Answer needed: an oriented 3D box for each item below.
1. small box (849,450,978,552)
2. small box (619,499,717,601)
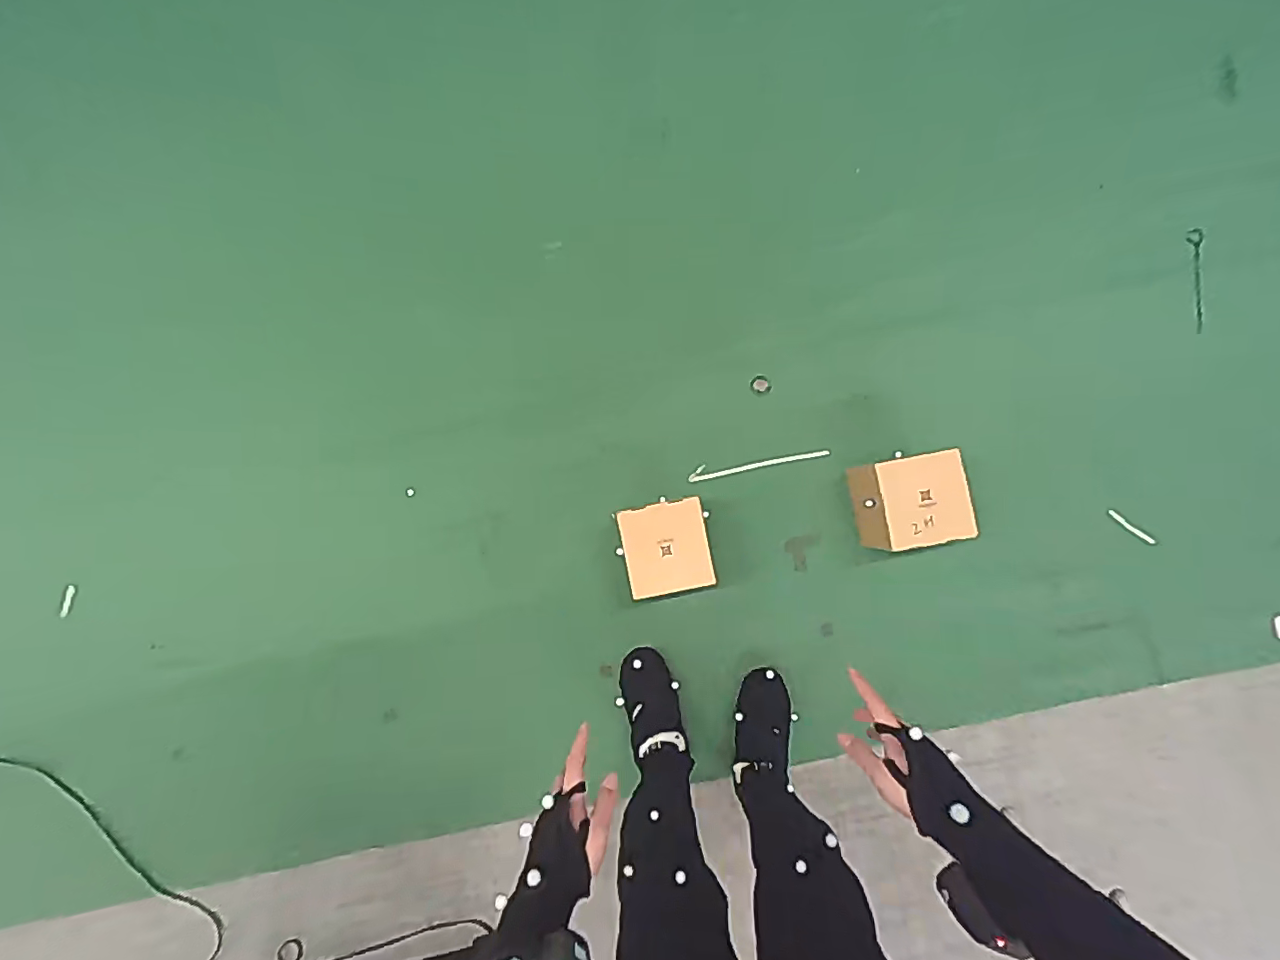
[{"bbox_3d":[0.552,0.046,1.116,0.168,0.176,0.179,-10,87,1],"label":"small box"},{"bbox_3d":[0.058,0.138,1.125,0.168,0.176,0.179,-12,86,1],"label":"small box"}]
